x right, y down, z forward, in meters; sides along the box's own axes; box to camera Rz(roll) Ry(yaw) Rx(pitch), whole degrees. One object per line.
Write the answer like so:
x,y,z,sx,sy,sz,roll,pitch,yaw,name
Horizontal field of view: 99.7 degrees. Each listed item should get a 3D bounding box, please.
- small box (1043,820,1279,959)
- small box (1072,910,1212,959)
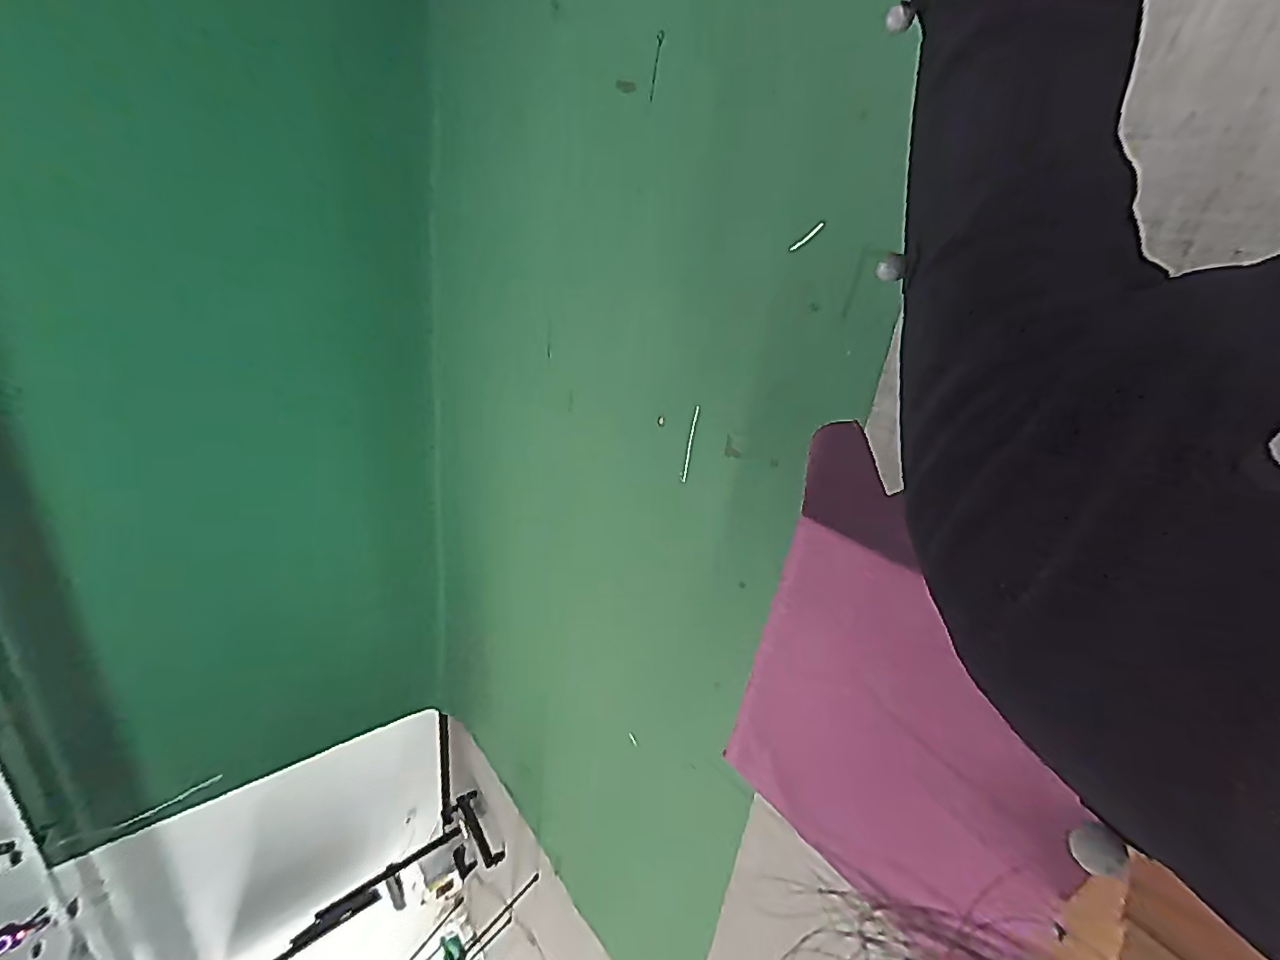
0.573,0.517,0.571,0.168,0.176,0.179,35,125,38,small box
0.456,0.533,0.458,0.168,0.176,0.179,33,124,39,small box
